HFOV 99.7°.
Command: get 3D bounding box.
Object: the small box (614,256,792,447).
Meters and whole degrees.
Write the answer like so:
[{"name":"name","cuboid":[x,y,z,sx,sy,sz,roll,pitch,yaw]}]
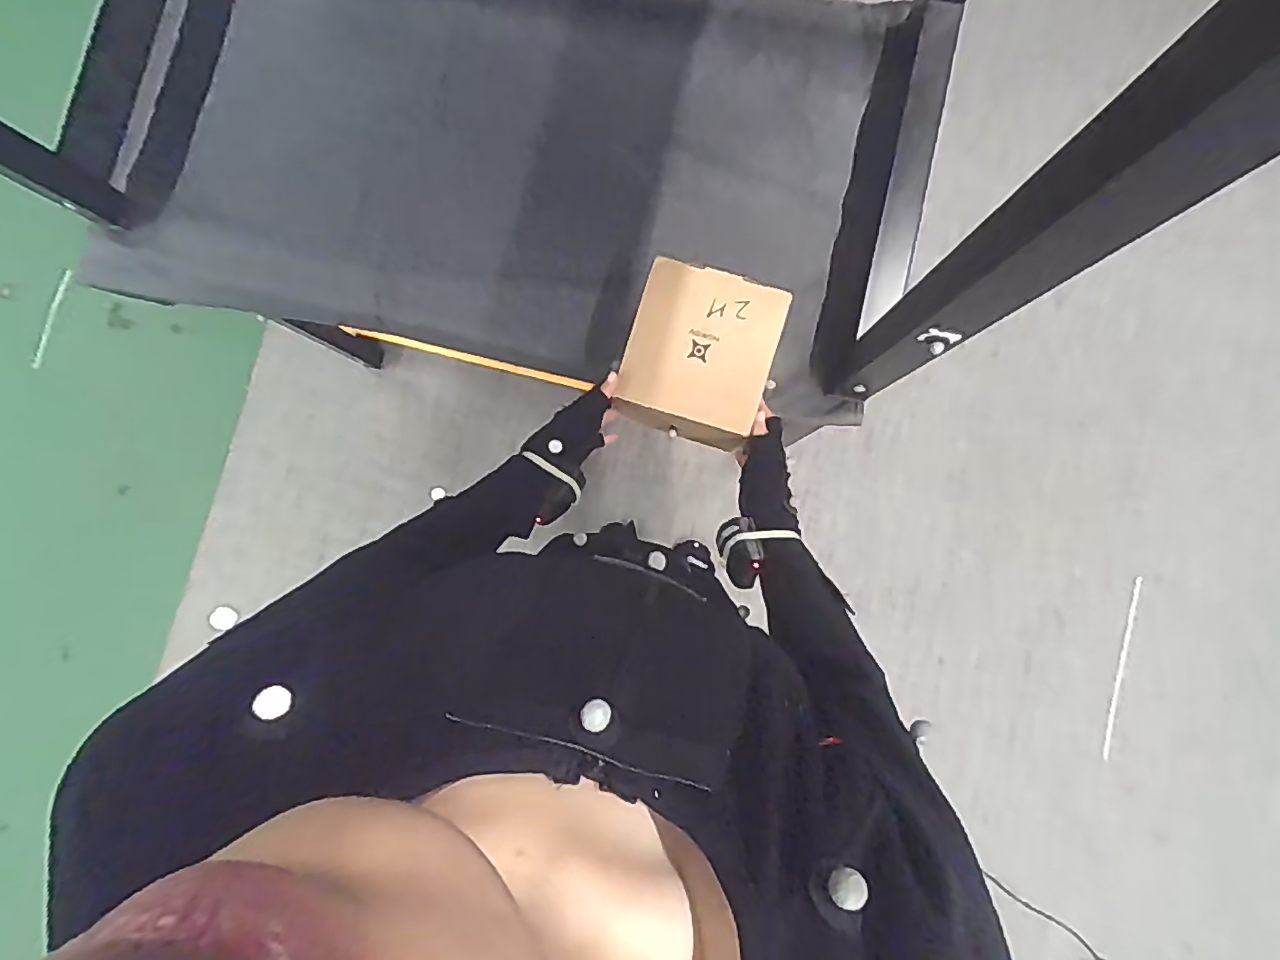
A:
[{"name":"small box","cuboid":[0.076,-0.151,0.698,0.168,0.176,0.179,17,88,3]}]
